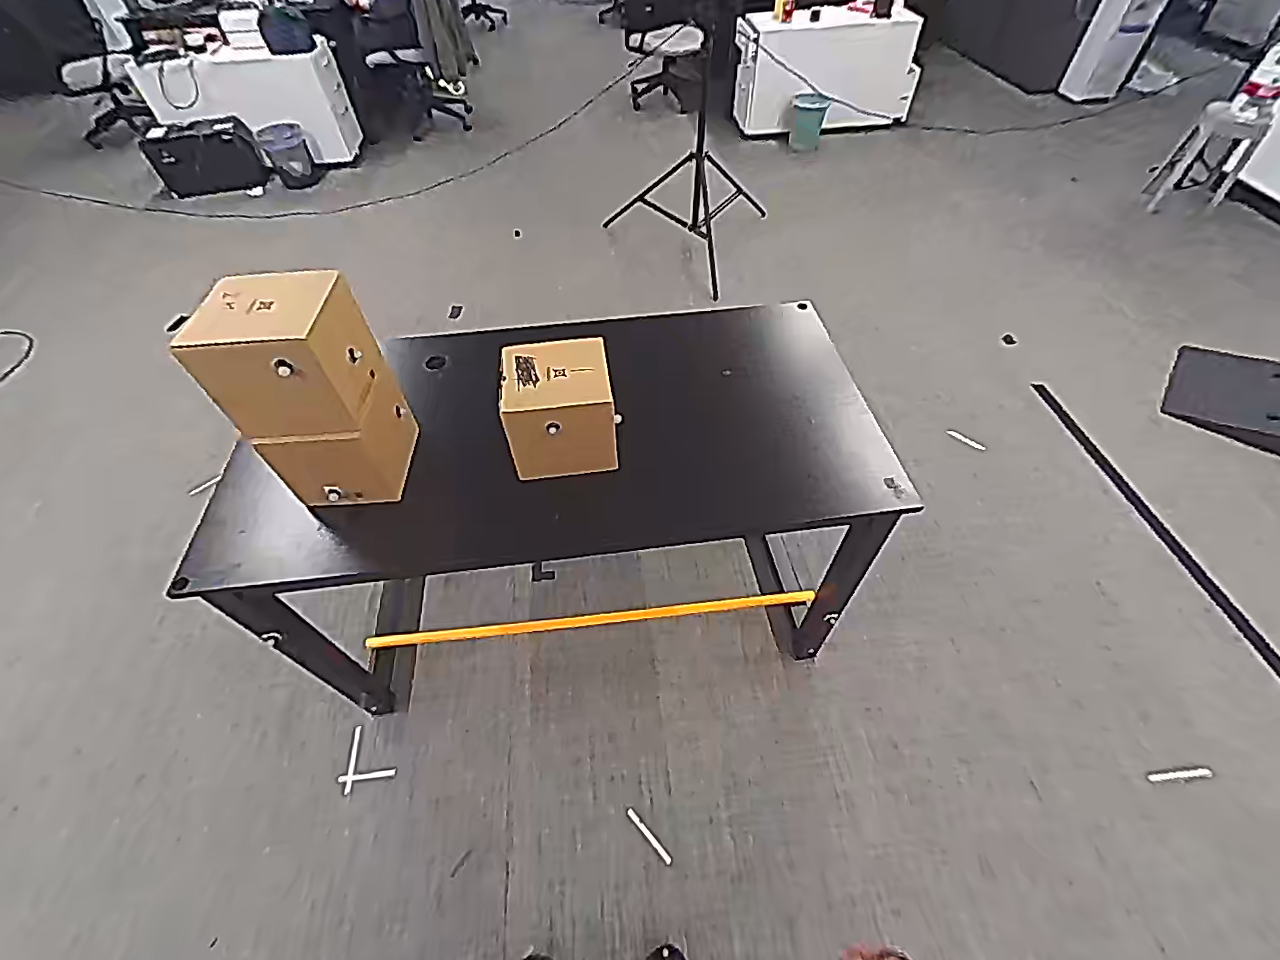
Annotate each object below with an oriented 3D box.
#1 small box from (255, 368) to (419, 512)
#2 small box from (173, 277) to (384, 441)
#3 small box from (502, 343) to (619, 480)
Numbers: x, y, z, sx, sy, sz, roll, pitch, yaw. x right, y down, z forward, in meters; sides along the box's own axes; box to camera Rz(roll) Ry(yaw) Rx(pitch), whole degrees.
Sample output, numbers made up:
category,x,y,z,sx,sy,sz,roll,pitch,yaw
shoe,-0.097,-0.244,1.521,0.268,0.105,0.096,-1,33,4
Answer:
category,x,y,z,sx,sy,sz,roll,pitch,yaw
small box,-0.495,-0.066,0.918,0.168,0.176,0.179,-5,52,-1
small box,-0.505,-0.174,0.793,0.179,0.176,0.168,-5,50,-1
small box,-0.134,-0.115,0.943,0.179,0.176,0.168,-7,51,-4
